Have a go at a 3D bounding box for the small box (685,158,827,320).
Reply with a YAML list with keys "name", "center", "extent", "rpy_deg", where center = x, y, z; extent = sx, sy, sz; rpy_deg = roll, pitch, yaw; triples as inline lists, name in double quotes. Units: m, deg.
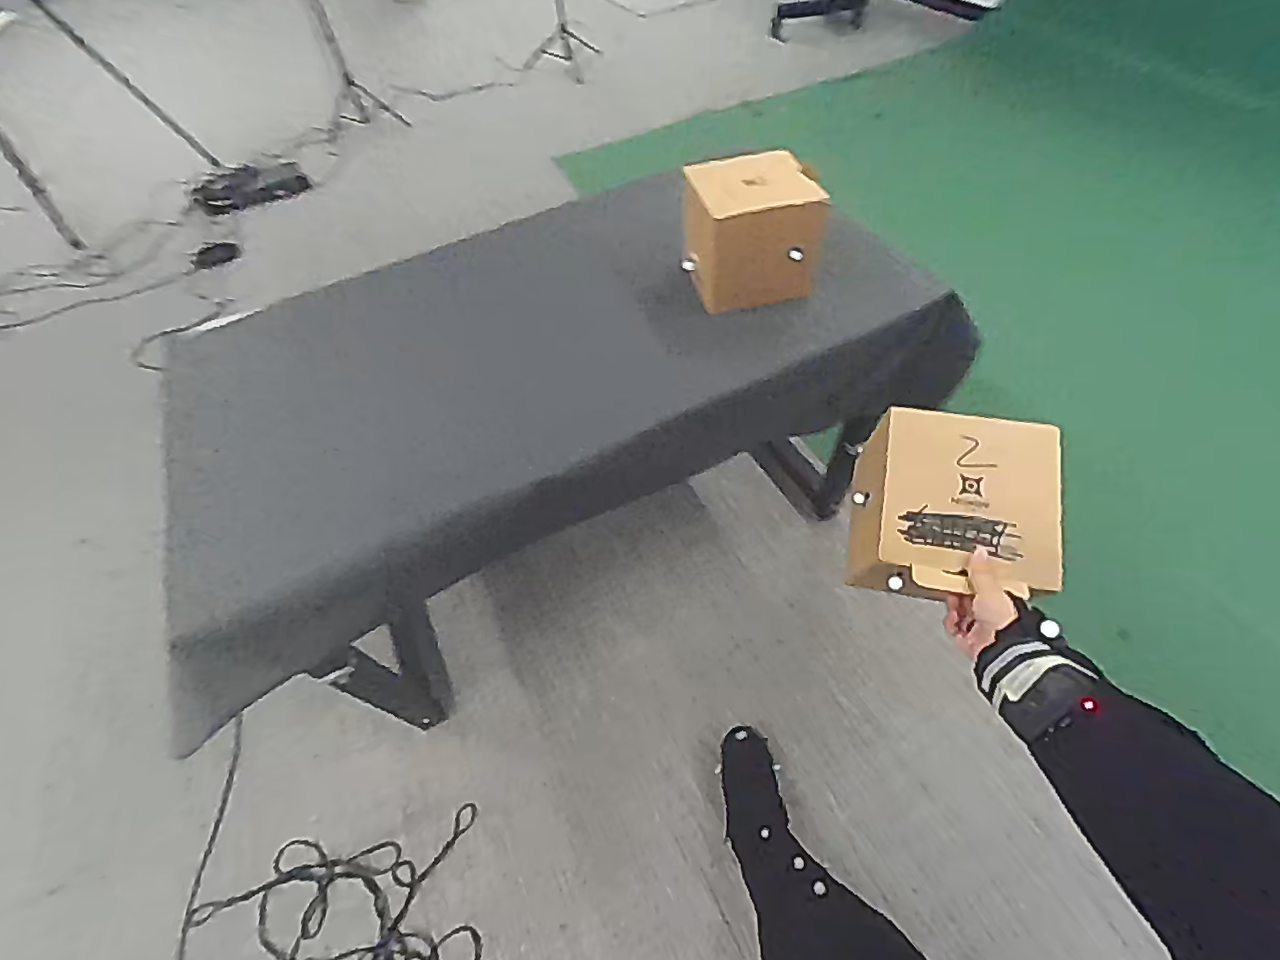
- name: "small box"
  center: [0.177, -0.390, 0.885]
  extent: [0.179, 0.176, 0.168]
  rpy_deg: [-14, 54, -4]
